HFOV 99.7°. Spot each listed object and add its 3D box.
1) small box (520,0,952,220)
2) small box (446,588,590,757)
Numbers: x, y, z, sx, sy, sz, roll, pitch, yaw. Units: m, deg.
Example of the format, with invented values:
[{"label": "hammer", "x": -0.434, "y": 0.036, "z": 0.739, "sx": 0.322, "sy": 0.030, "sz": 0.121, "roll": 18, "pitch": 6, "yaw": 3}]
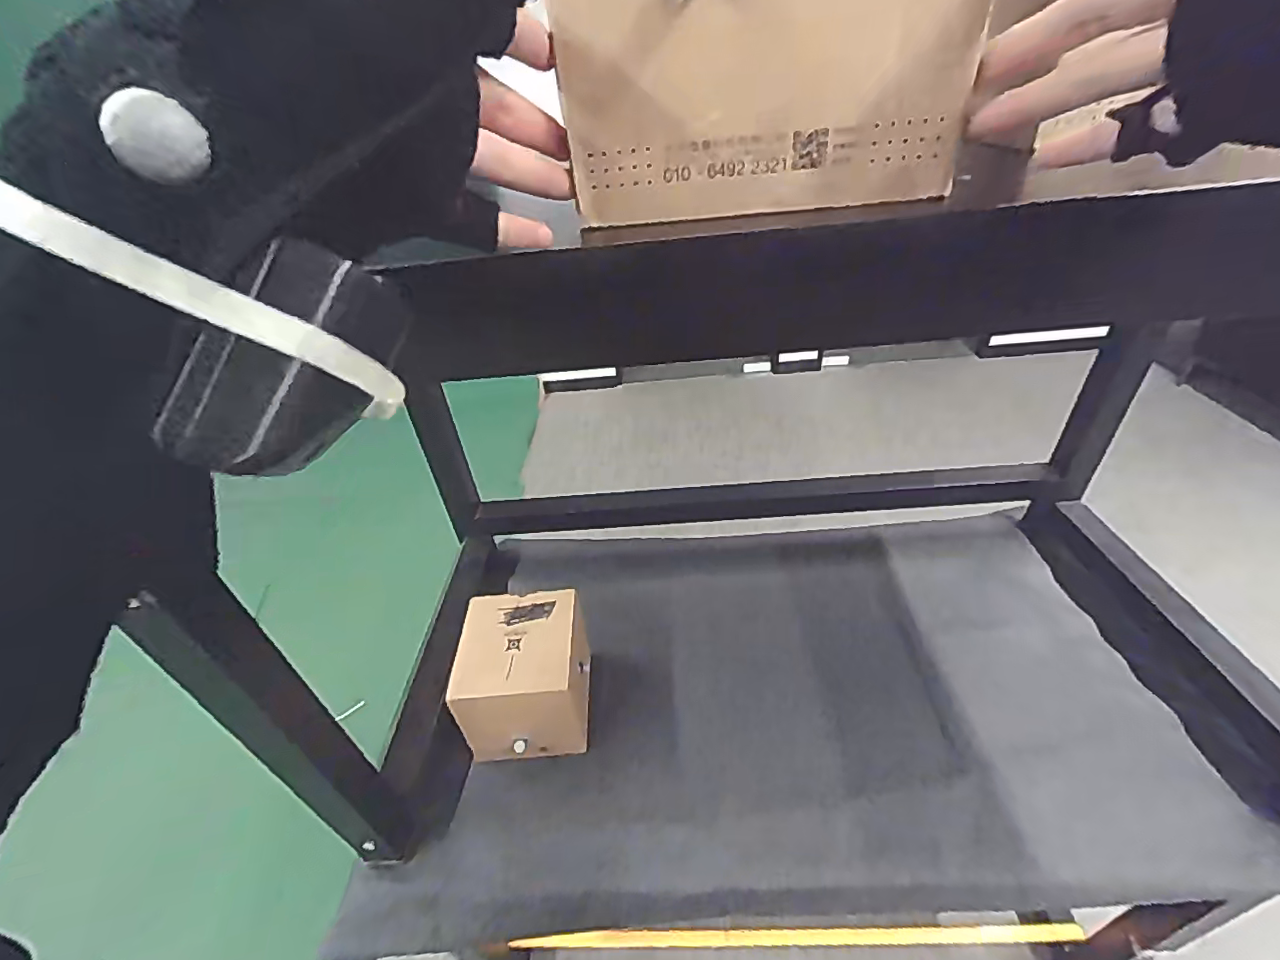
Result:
[{"label": "small box", "x": 0.042, "y": -0.232, "z": 0.260, "sx": 0.168, "sy": 0.176, "sz": 0.179, "roll": -2, "pitch": 36, "yaw": 7}, {"label": "small box", "x": -0.170, "y": 0.289, "z": 0.820, "sx": 0.168, "sy": 0.176, "sz": 0.179, "roll": -6, "pitch": 37, "yaw": 2}]
